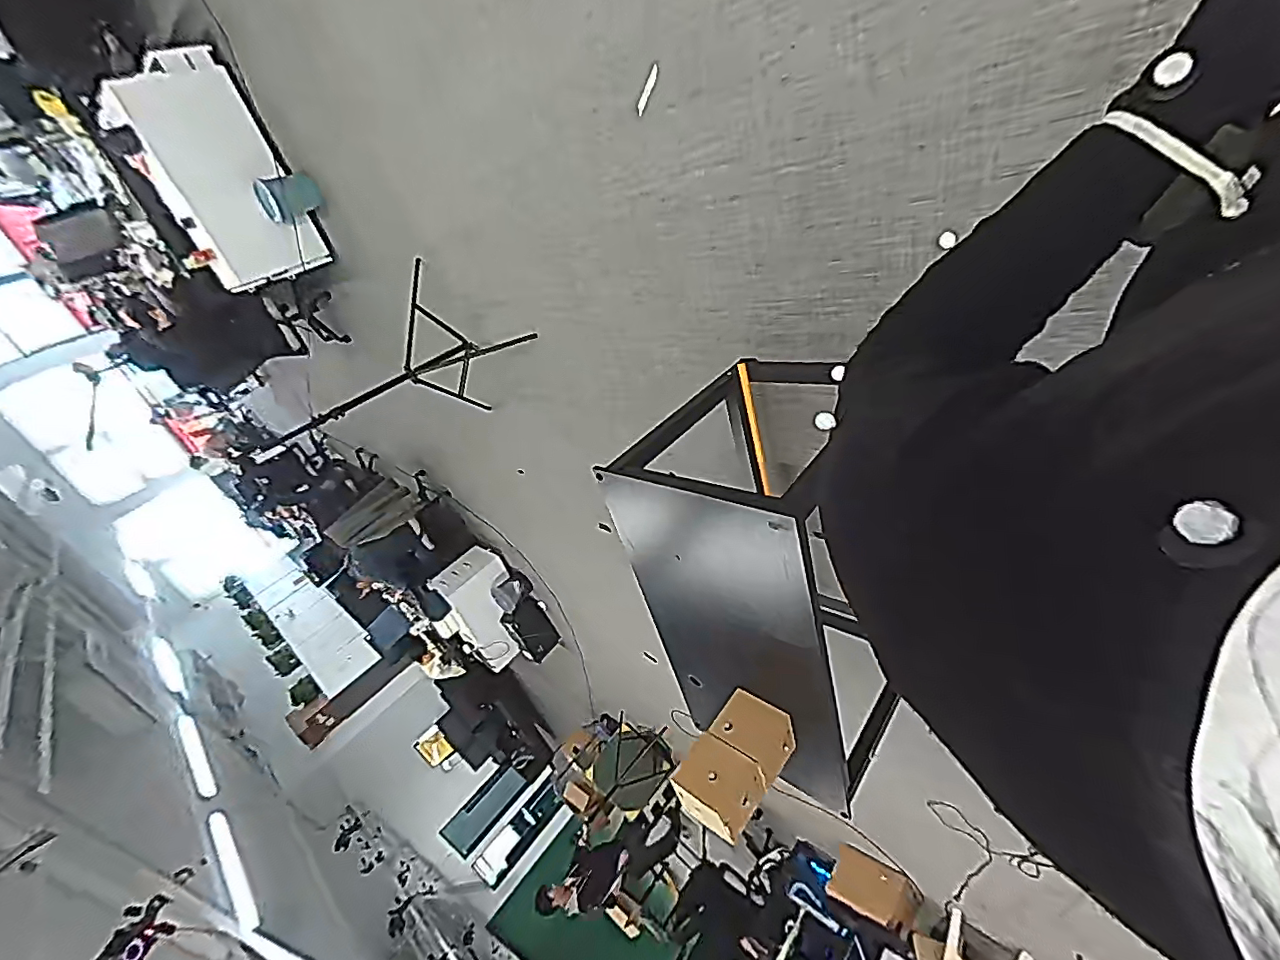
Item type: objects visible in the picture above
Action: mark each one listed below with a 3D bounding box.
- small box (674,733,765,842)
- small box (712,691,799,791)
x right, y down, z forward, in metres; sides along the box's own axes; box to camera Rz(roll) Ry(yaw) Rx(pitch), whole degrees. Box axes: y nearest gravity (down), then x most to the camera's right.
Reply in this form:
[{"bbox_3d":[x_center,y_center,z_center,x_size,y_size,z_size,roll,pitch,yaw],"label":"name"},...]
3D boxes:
[{"bbox_3d":[0.229,0.843,1.501,0.179,0.176,0.168,12,133,44],"label":"small box"},{"bbox_3d":[0.341,0.752,1.580,0.179,0.176,0.168,15,135,42],"label":"small box"}]
